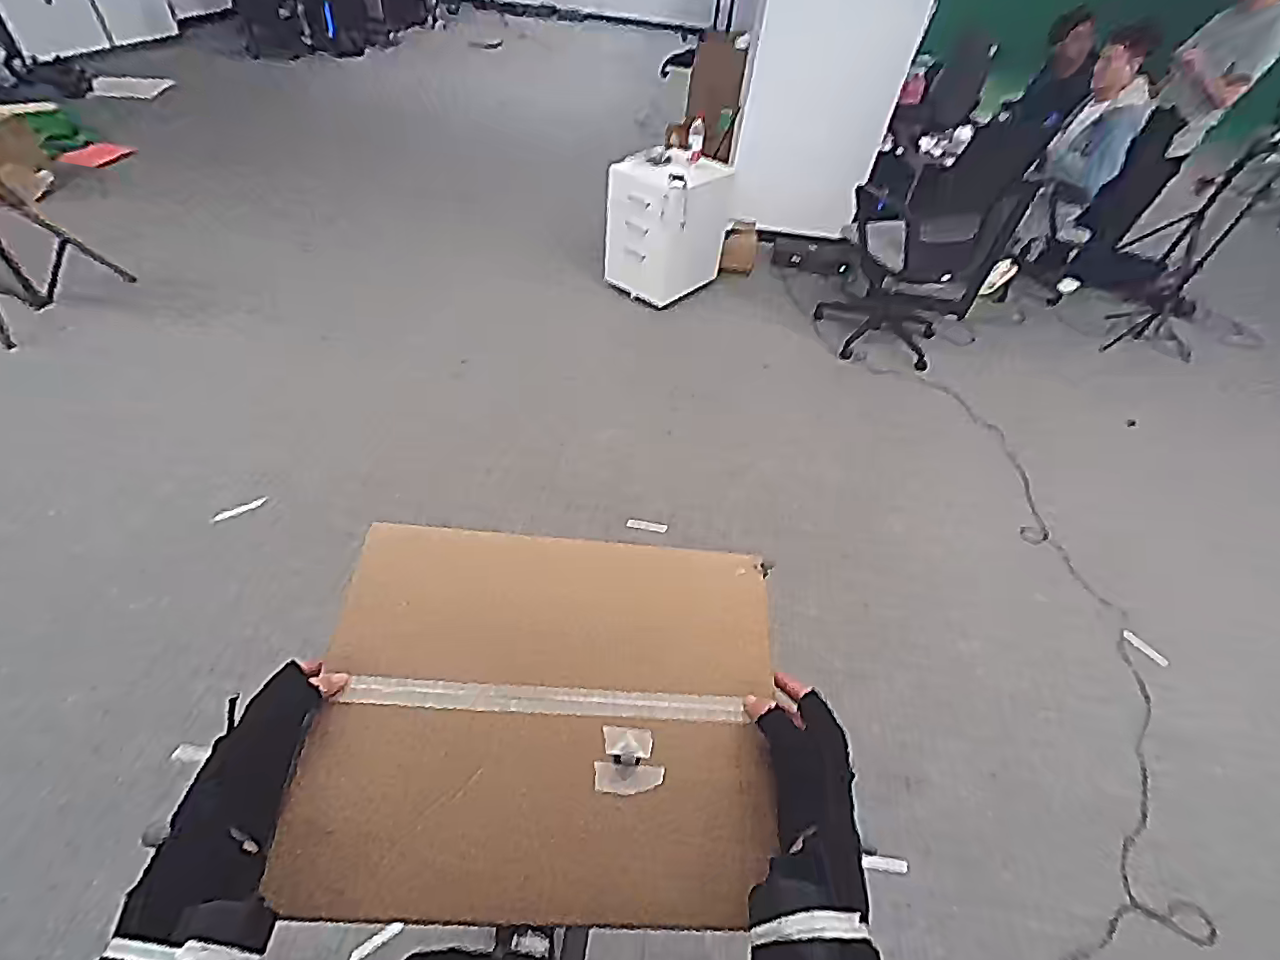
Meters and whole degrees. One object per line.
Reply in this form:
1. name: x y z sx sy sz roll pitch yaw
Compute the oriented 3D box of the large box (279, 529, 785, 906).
1. large box: -0.094 0.274 0.625 0.408 0.320 0.320 6 59 -6
